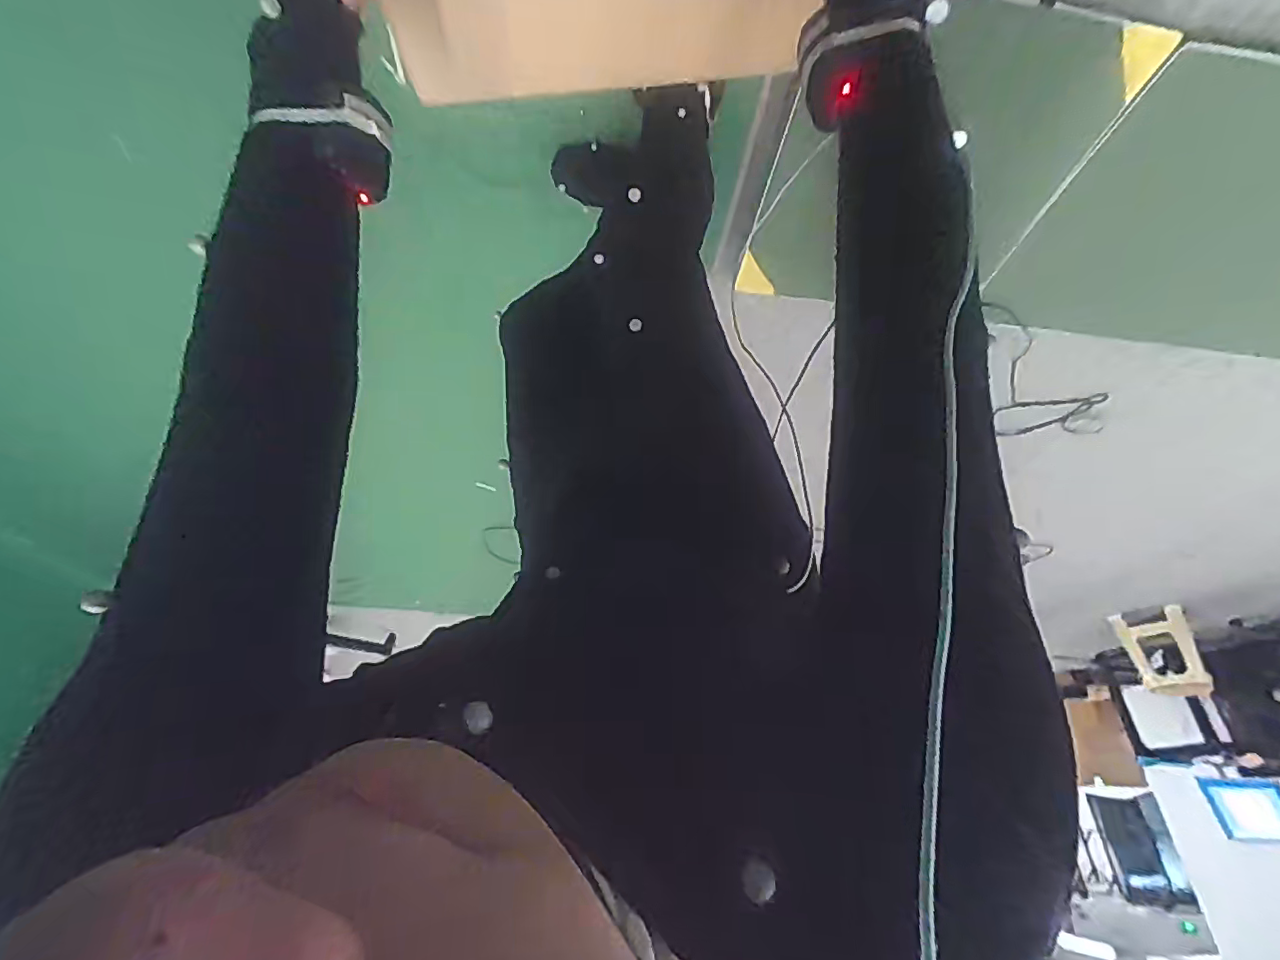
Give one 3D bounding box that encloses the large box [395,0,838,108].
[{"bbox_3d":[-0.030,-0.599,0.492,0.408,0.320,0.320,-2,149,4],"label":"large box"}]
